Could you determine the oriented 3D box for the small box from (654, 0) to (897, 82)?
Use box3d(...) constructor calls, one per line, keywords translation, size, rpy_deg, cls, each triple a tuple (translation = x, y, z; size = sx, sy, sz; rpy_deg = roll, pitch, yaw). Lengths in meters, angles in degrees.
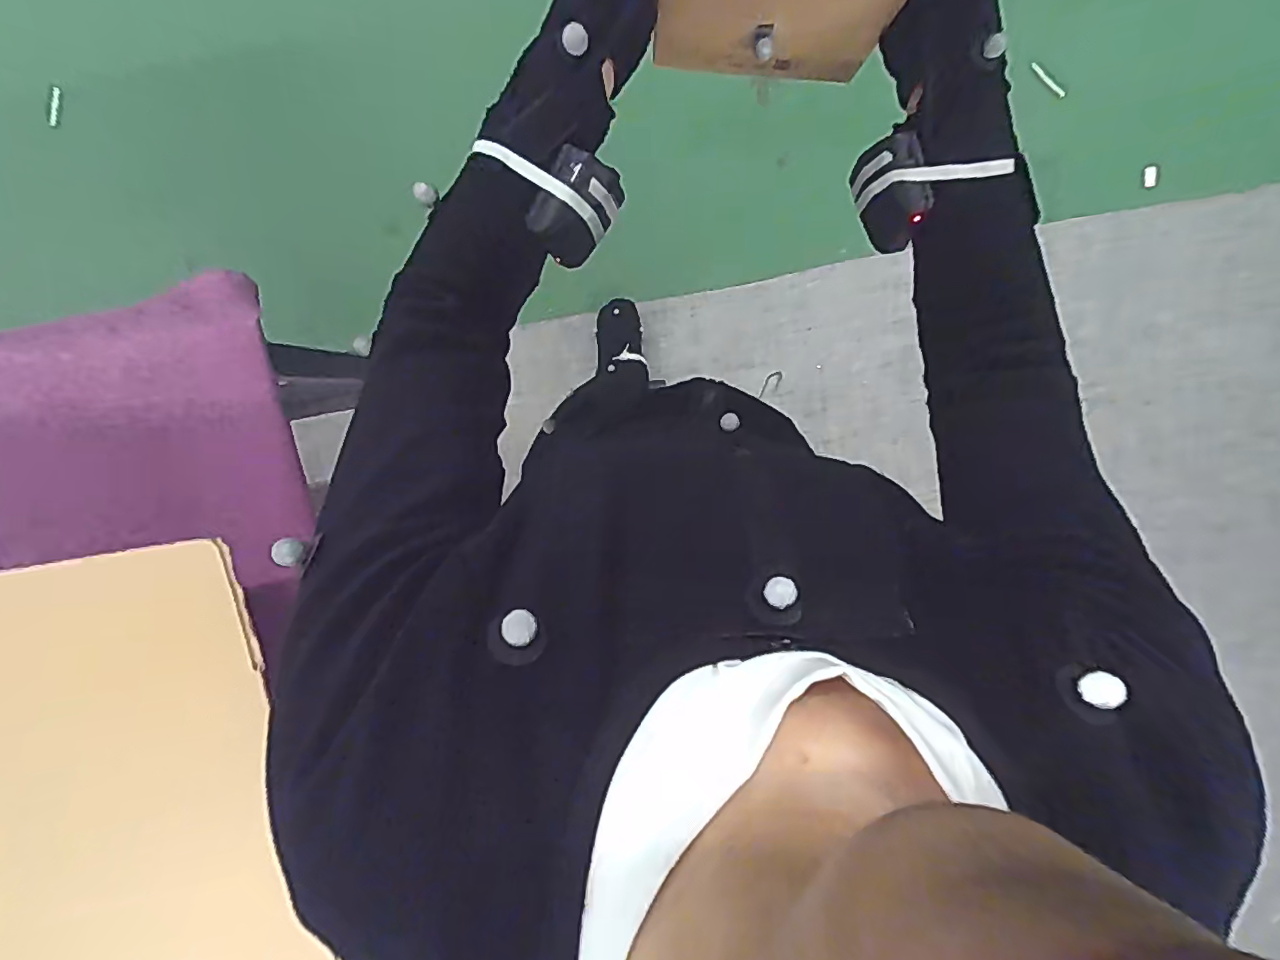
box3d(translation=(0.099, -0.410, 0.354), size=(0.168, 0.176, 0.179), rpy_deg=(5, 101, -1), cls="small box")
